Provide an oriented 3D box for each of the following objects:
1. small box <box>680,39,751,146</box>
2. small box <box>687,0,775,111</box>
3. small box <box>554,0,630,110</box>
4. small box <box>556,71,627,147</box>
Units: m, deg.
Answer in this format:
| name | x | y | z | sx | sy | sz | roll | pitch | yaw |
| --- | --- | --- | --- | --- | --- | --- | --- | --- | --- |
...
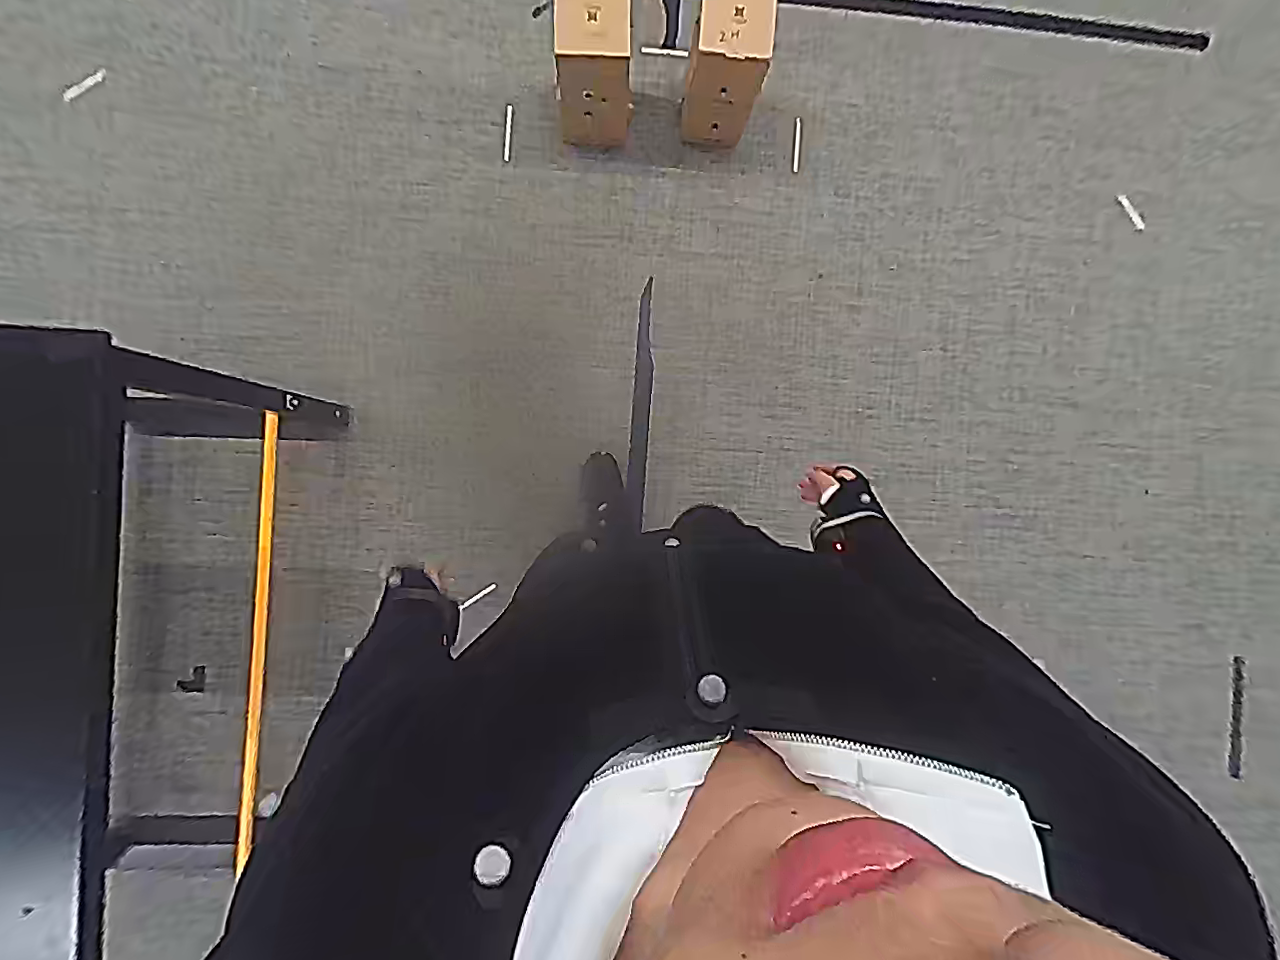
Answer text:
| name | x | y | z | sx | sy | sz | roll | pitch | yaw |
| --- | --- | --- | --- | --- | --- | --- | --- | --- | --- |
| small box | 0.199 | -1.017 | 1.425 | 0.168 | 0.176 | 0.179 | 3 | 91 | -4 |
| small box | 0.206 | -1.010 | 1.259 | 0.168 | 0.176 | 0.179 | 4 | 90 | -3 |
| small box | -0.107 | -0.994 | 1.241 | 0.168 | 0.176 | 0.179 | -1 | 92 | -2 |
| small box | -0.120 | -0.998 | 1.403 | 0.179 | 0.176 | 0.168 | 1 | 90 | -4 |
